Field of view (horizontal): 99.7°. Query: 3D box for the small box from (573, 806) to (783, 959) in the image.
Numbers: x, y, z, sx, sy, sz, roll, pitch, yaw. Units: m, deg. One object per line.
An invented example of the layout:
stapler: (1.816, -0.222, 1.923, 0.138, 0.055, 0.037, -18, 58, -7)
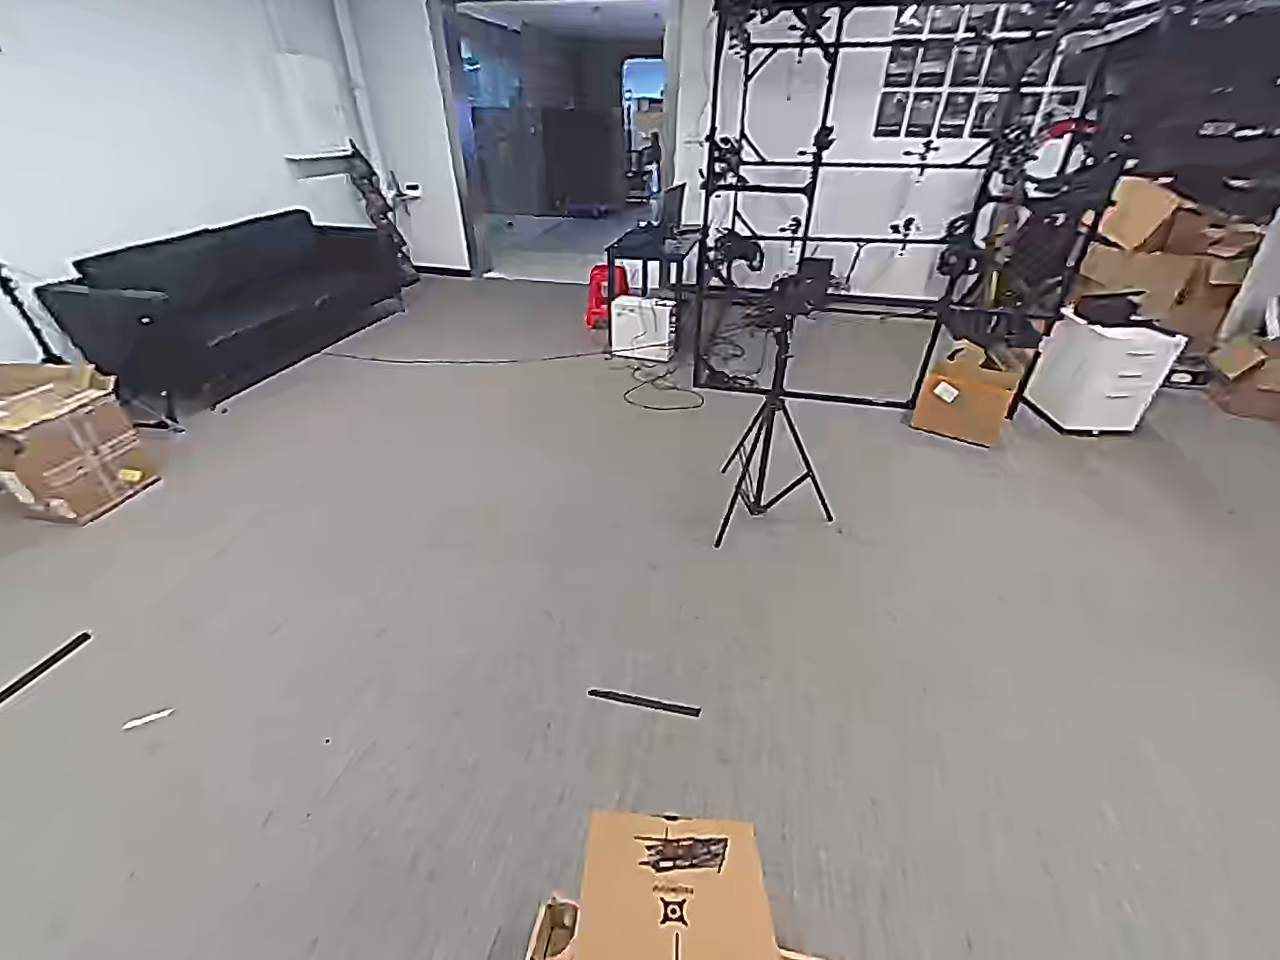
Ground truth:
small box: (0.025, 0.435, 0.481, 0.168, 0.176, 0.179, 4, 14, 0)
